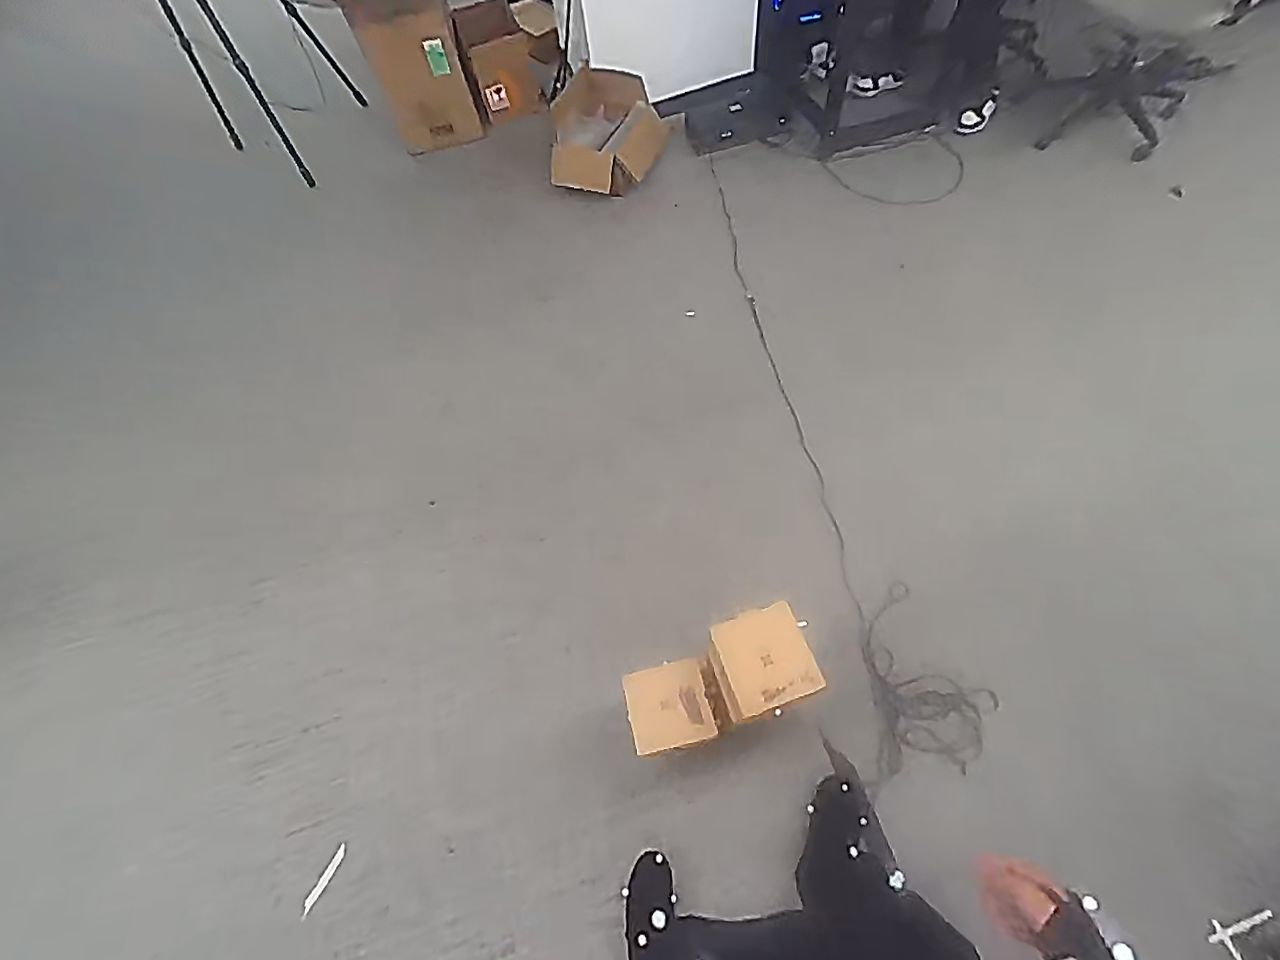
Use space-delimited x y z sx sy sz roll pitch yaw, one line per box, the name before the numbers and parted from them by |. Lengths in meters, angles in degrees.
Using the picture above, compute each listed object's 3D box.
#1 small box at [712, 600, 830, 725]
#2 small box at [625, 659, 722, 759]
small box | 0.249 0.367 1.075 0.168 0.176 0.179 -20 61 -2
small box | 0.078 0.514 1.209 0.179 0.176 0.168 -16 61 2
